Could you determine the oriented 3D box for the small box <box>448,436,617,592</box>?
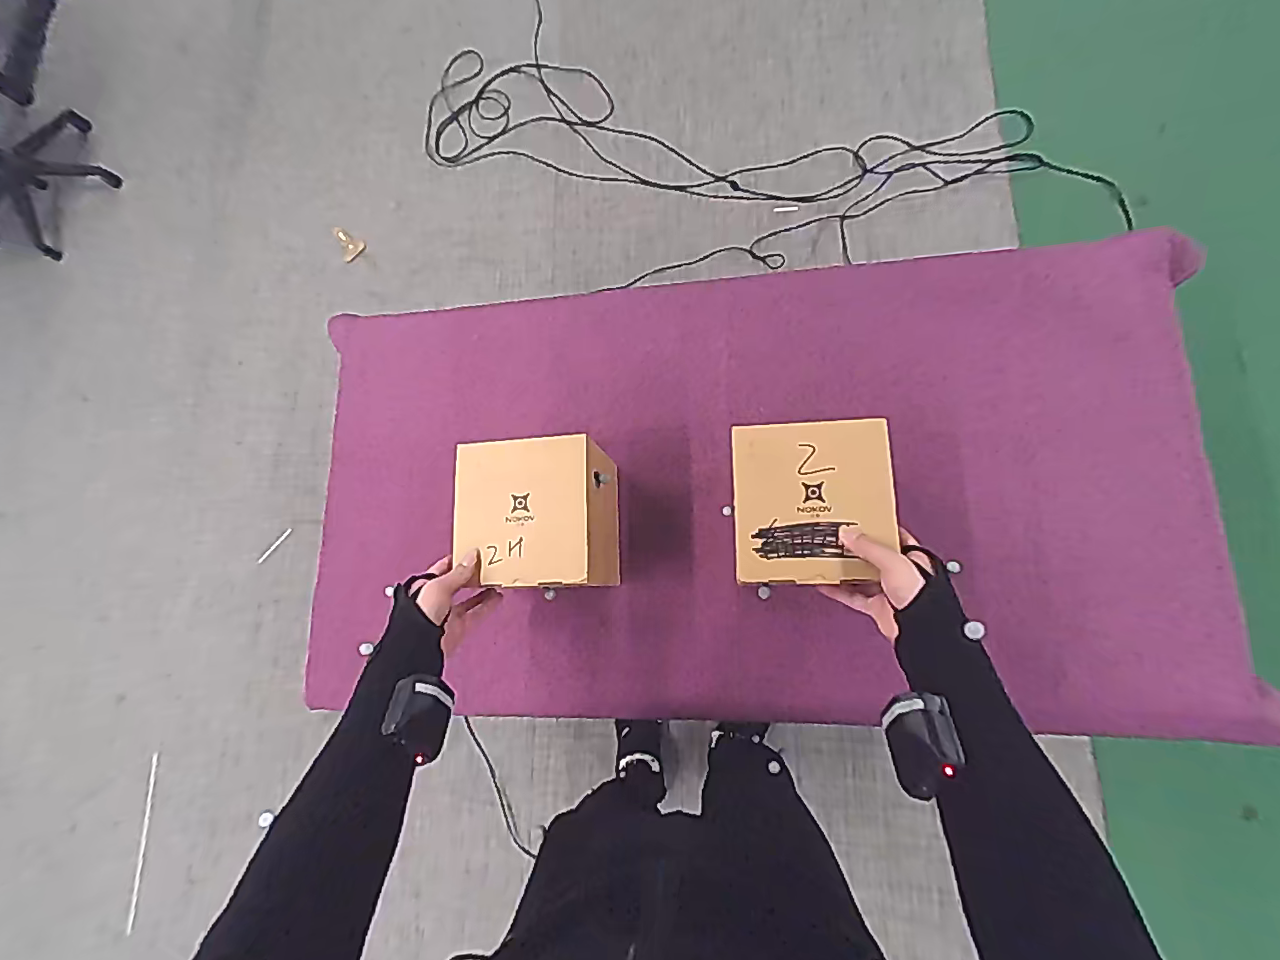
[{"bbox_3d":[-0.127,0.053,0.699,0.168,0.176,0.179,-4,78,10],"label":"small box"}]
